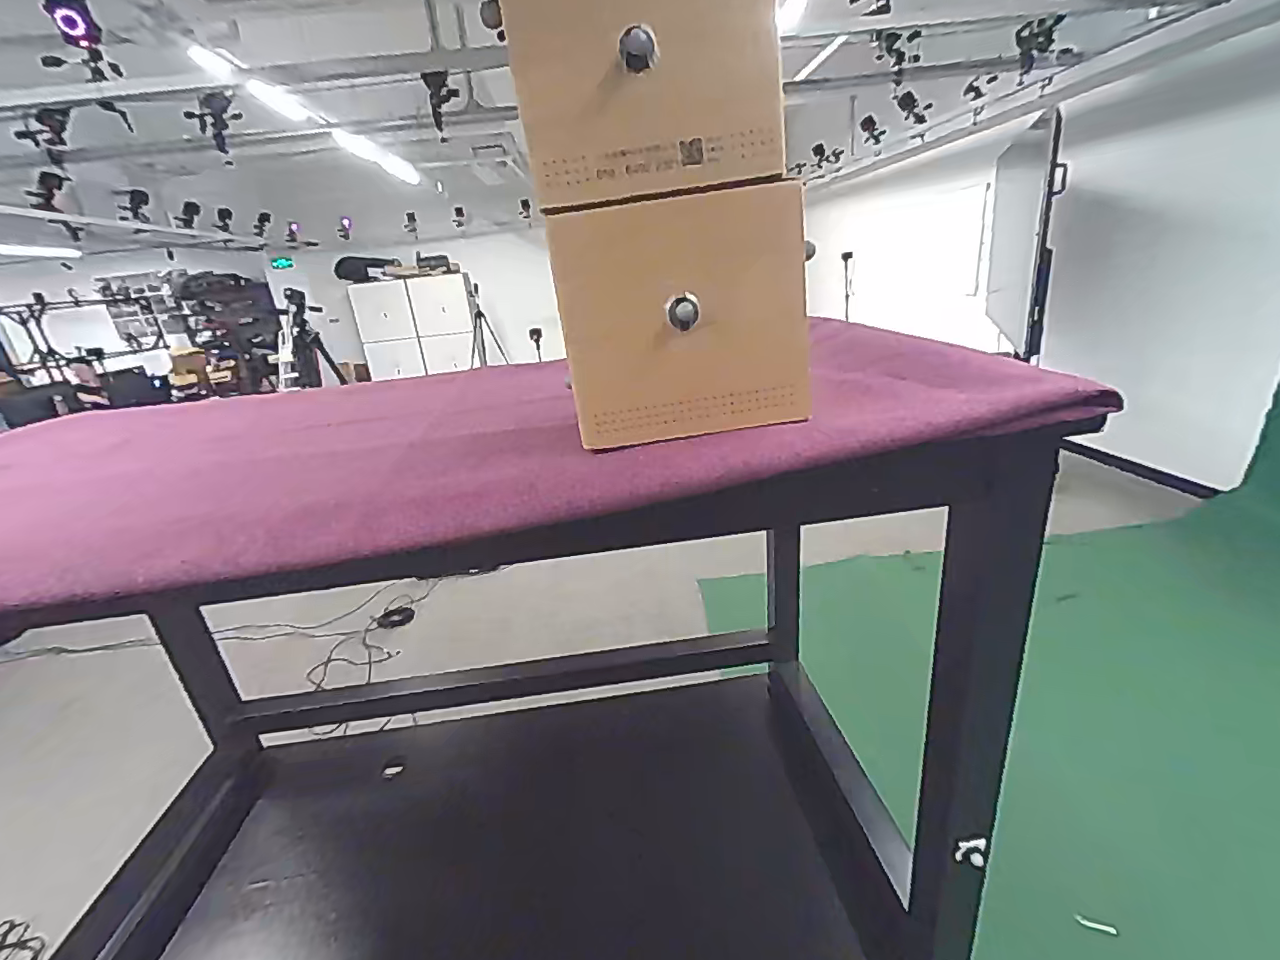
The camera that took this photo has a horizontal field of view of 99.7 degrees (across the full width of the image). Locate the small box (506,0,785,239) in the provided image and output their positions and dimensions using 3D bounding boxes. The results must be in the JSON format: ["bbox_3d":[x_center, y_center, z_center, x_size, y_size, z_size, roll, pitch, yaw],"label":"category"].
[{"bbox_3d":[0.003,-0.287,0.402,0.168,0.176,0.179,-8,19,0],"label":"small box"}]
